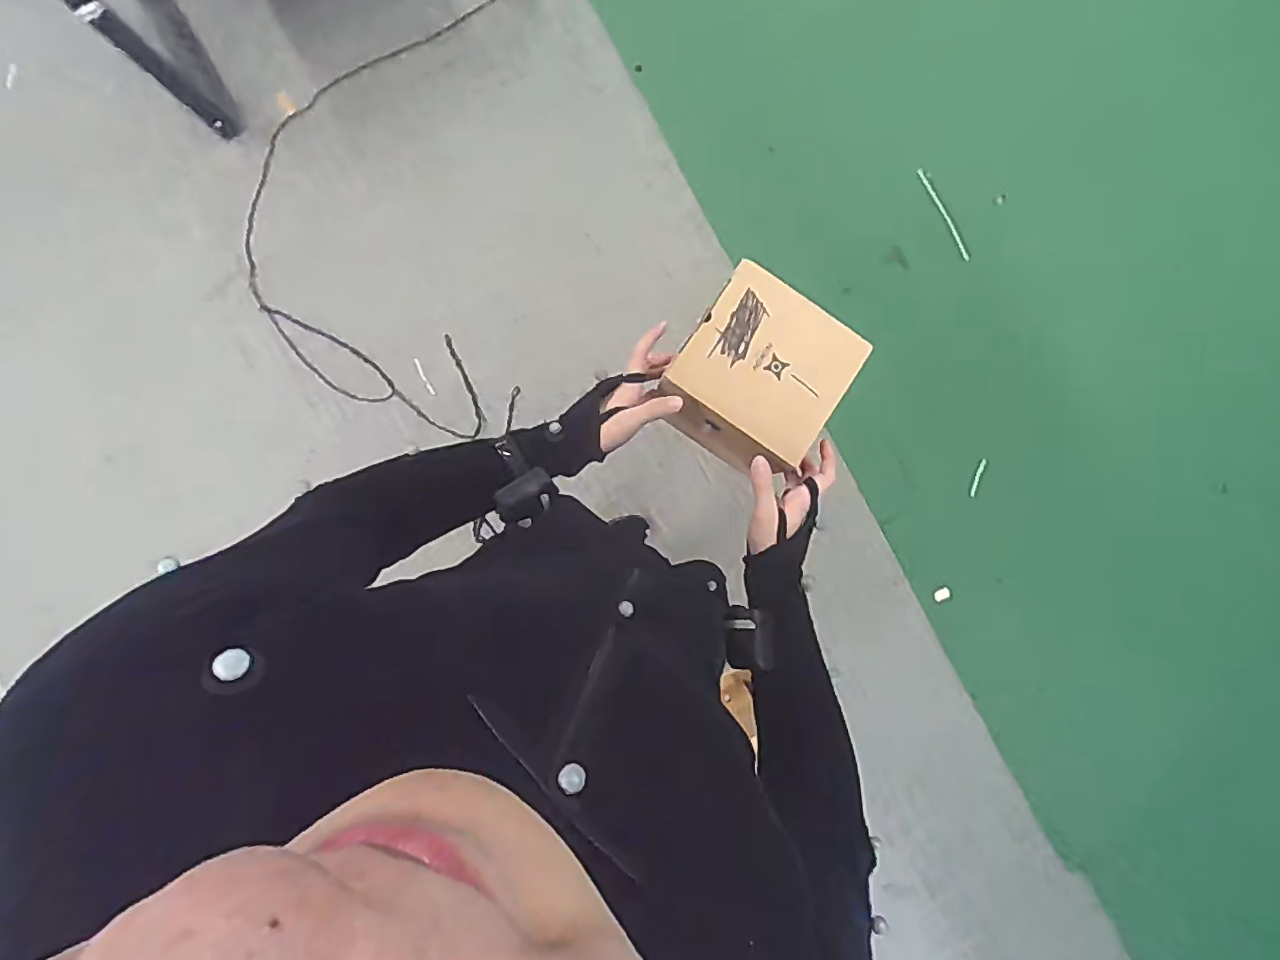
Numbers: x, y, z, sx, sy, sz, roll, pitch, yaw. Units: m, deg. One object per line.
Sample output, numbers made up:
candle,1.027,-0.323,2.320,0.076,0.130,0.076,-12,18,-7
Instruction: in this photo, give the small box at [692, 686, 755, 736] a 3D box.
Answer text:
small box,0.256,0.690,1.478,0.168,0.176,0.179,-26,90,-1

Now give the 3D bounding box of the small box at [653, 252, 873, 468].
small box,0.131,-0.127,0.654,0.179,0.176,0.168,33,84,-2
